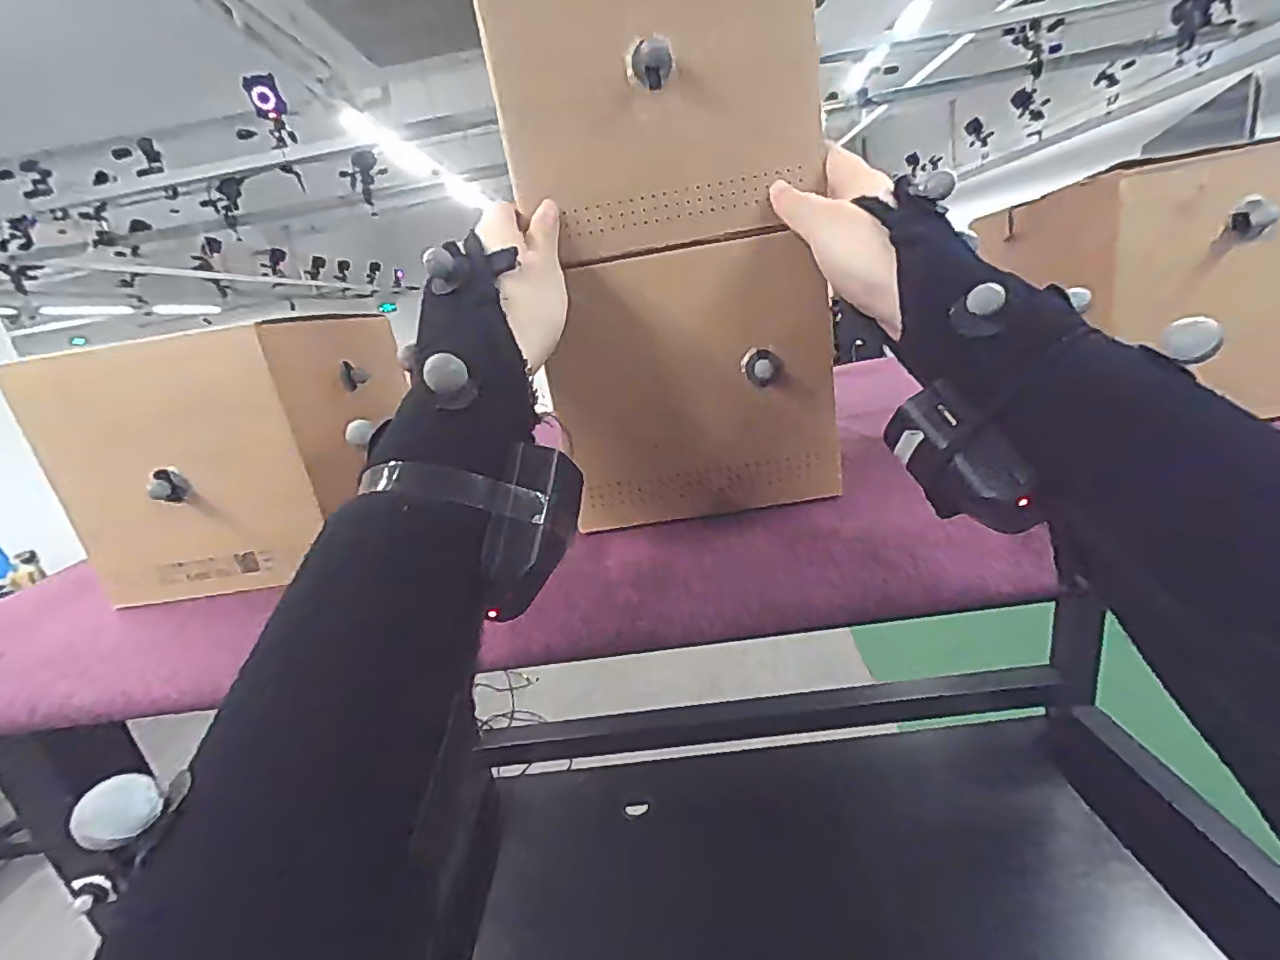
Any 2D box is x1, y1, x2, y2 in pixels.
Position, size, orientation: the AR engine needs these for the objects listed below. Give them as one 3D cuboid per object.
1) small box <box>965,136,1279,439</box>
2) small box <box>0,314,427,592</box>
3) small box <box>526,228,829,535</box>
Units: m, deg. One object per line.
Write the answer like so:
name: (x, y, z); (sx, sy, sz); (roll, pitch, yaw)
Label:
small box: (0.375, -0.133, 0.403); (0.179, 0.176, 0.168); (-8, 15, 5)
small box: (-0.287, -0.025, 0.416); (0.168, 0.176, 0.179); (-7, 18, 2)
small box: (0.033, -0.073, 0.406); (0.179, 0.176, 0.168); (-10, 15, 3)
